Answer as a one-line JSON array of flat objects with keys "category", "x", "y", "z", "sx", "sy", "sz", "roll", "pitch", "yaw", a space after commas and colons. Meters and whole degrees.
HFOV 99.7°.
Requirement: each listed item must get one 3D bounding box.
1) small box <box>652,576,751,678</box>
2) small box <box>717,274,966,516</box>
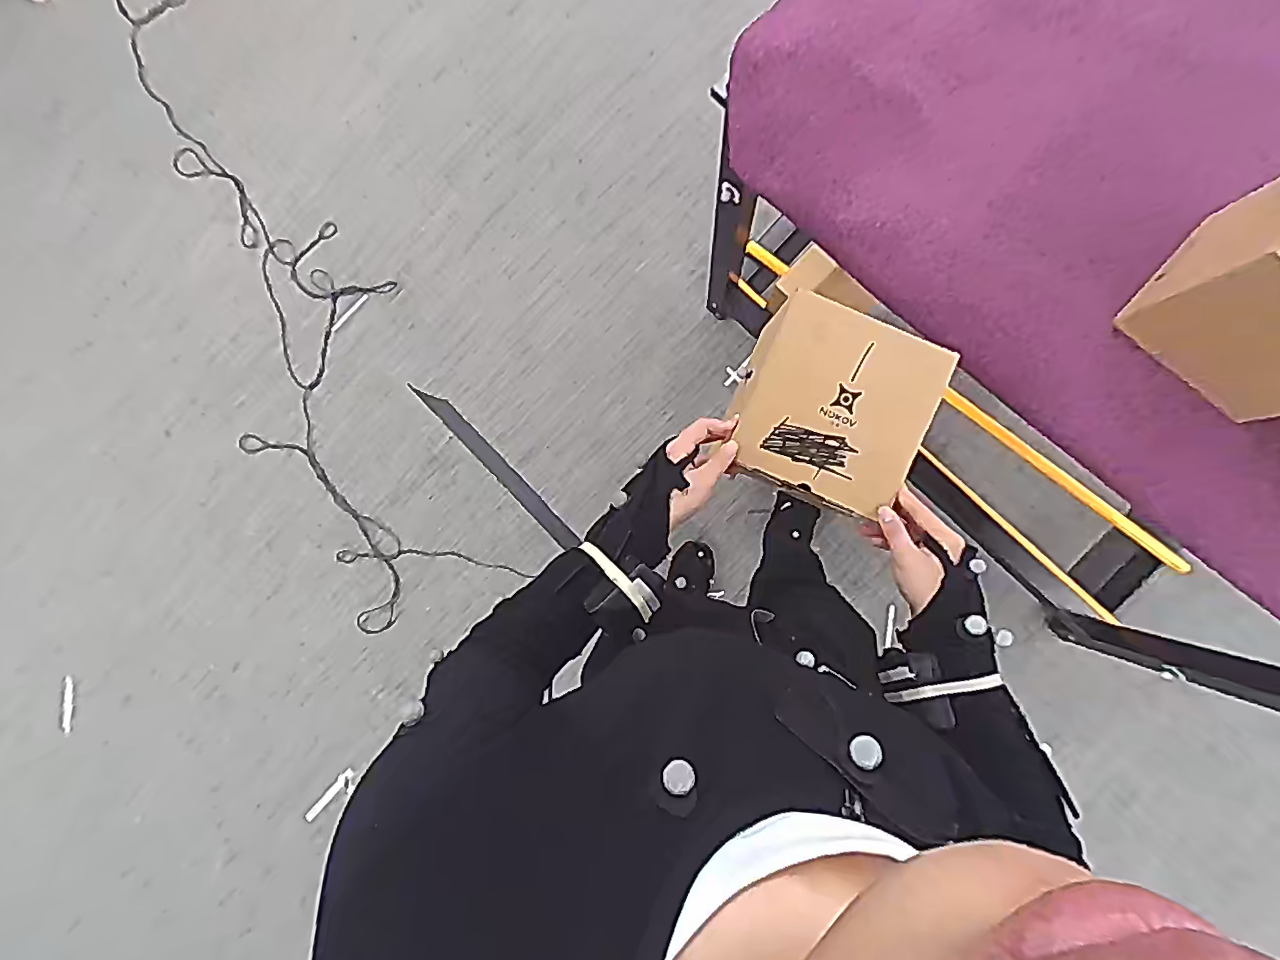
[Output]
[{"category": "small box", "x": 0.138, "y": 0.336, "z": 1.257, "sx": 0.179, "sy": 0.176, "sz": 0.168, "roll": 21, "pitch": 86, "yaw": 2}, {"category": "small box", "x": 0.191, "y": -0.079, "z": 0.573, "sx": 0.168, "sy": 0.176, "sz": 0.179, "roll": 24, "pitch": 92, "yaw": 0}]
